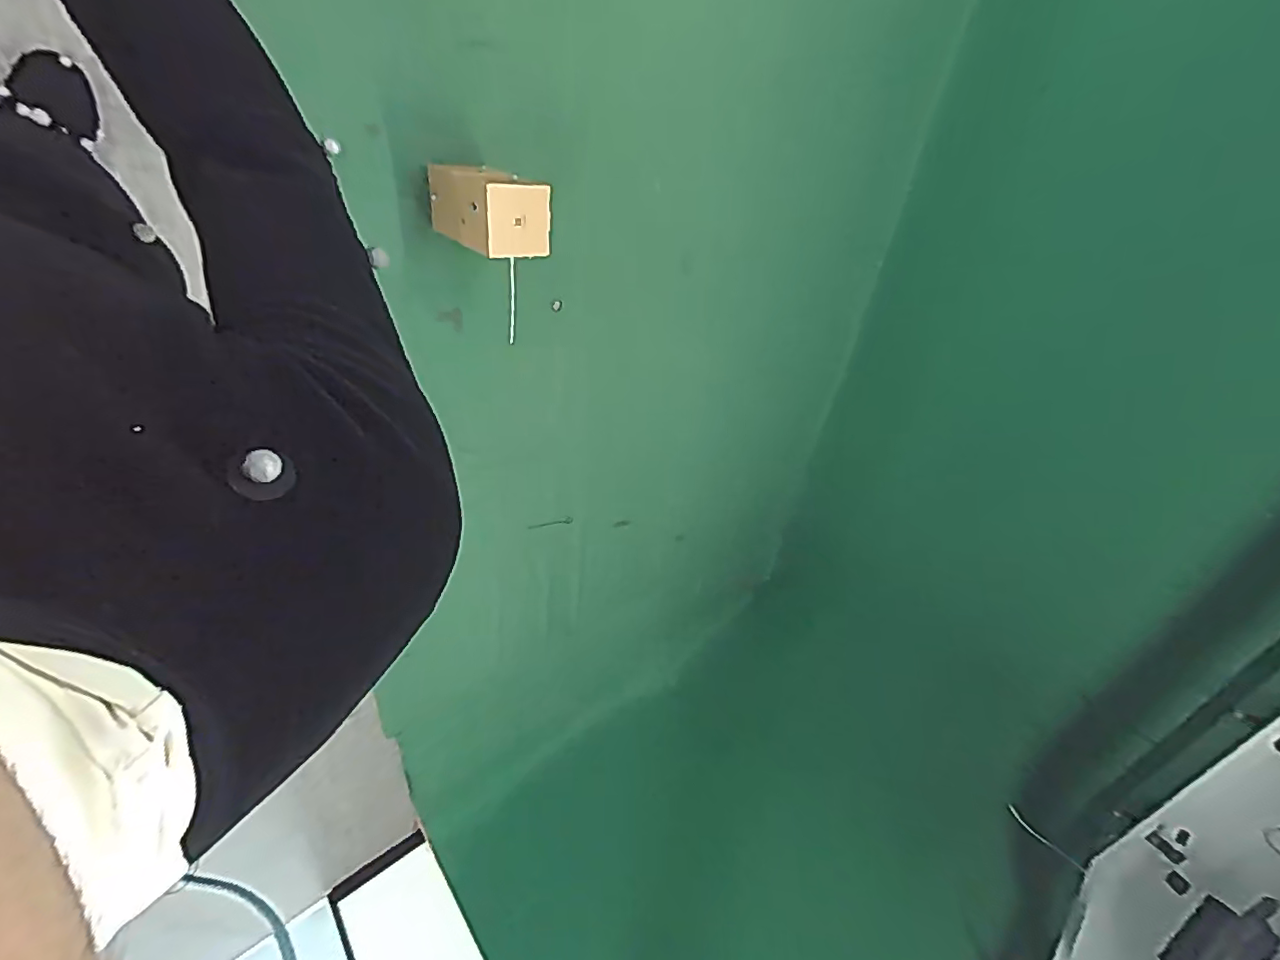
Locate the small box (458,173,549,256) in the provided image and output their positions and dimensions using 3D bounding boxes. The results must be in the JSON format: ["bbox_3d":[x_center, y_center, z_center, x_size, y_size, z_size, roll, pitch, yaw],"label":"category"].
[{"bbox_3d":[-0.351,-0.677,1.379,0.179,0.176,0.168,-22,133,-37],"label":"small box"}]

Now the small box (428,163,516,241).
[{"bbox_3d":[-0.455,-0.758,1.472,0.179,0.176,0.168,-20,132,-35],"label":"small box"}]
